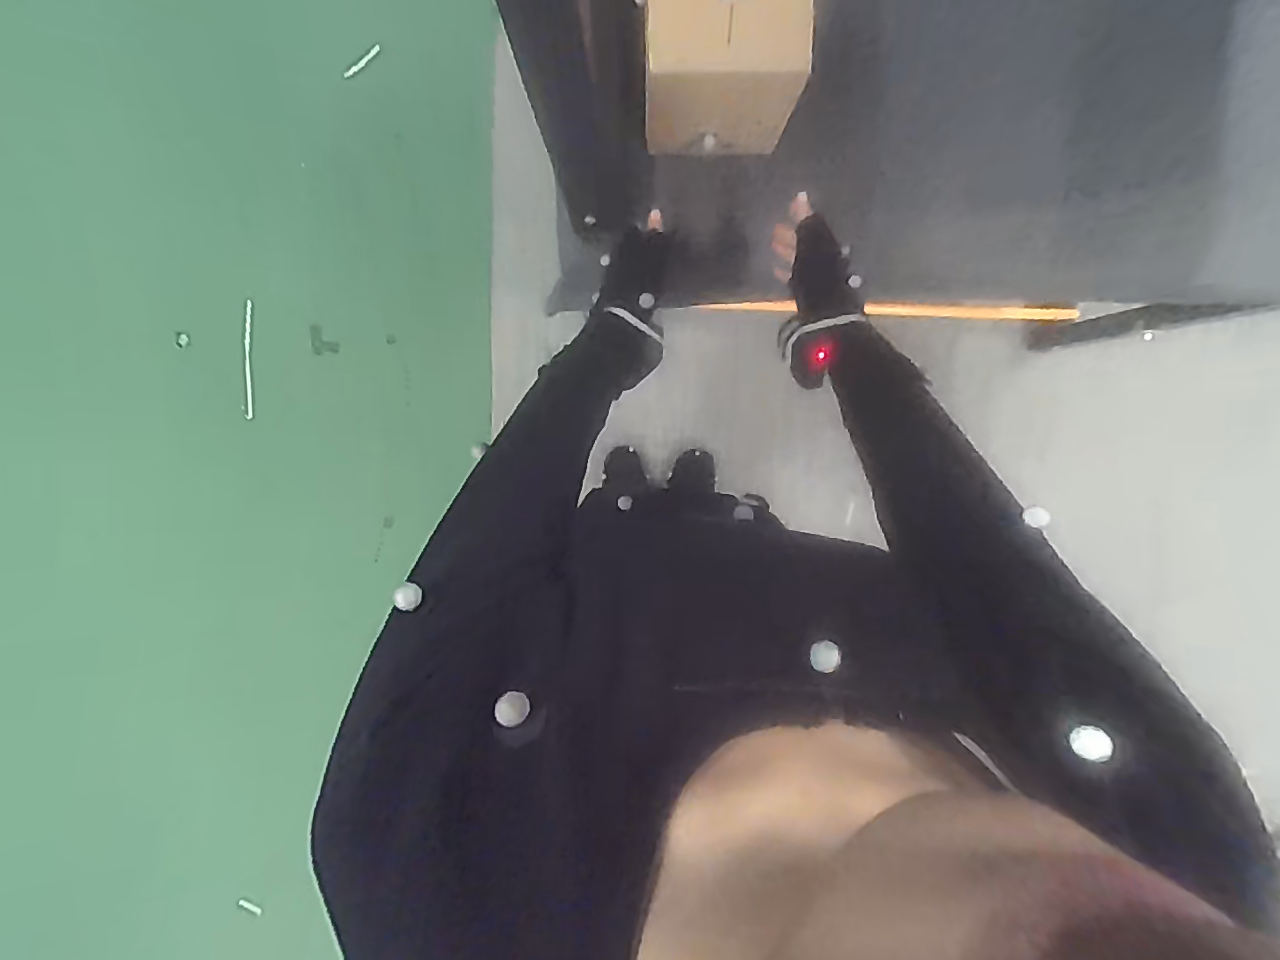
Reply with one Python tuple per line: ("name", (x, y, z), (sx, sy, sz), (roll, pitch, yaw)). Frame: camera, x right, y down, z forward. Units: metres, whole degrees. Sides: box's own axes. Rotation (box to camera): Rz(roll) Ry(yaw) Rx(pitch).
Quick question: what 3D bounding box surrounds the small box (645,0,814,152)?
("small box", (0.090, -0.504, 0.609), (0.168, 0.176, 0.179), (-1, 96, 1))
